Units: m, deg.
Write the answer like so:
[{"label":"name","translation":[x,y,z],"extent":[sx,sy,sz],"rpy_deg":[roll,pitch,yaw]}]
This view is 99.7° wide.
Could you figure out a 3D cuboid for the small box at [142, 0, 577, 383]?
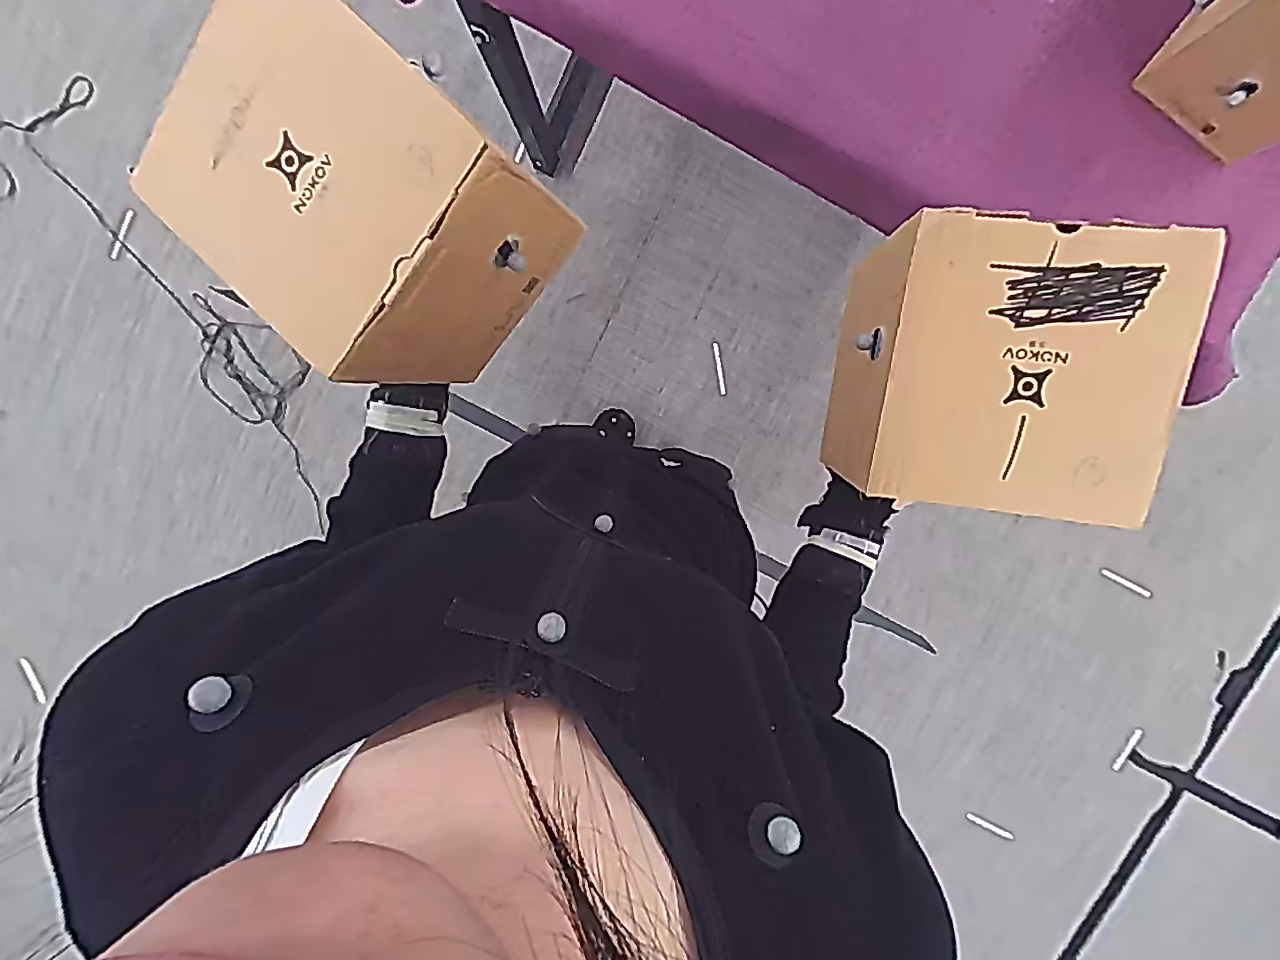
[{"label":"small box","translation":[-0.172,-0.188,0.382],"extent":[0.179,0.176,0.168],"rpy_deg":[43,105,3]}]

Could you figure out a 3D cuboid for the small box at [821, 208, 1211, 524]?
[{"label":"small box","translation":[0.246,-0.081,0.409],"extent":[0.168,0.176,0.179],"rpy_deg":[8,101,7]}]
